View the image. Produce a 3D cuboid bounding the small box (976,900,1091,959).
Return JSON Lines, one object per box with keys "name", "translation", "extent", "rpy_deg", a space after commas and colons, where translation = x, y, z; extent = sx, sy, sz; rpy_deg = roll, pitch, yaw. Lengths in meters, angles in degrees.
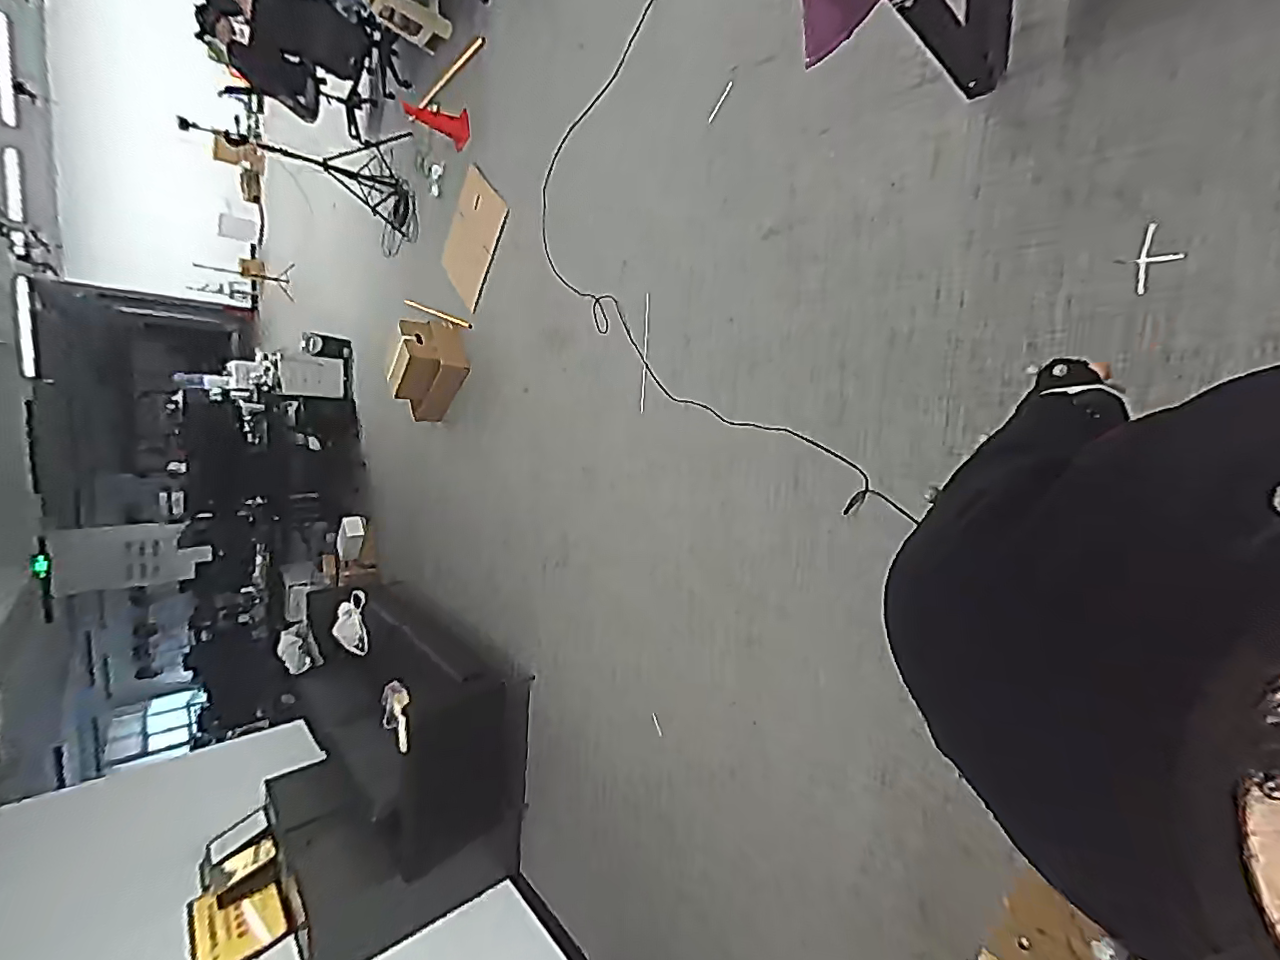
{"name": "small box", "translation": [0.716, 0.934, 0.989], "extent": [0.168, 0.176, 0.179], "rpy_deg": [23, 111, 47]}
